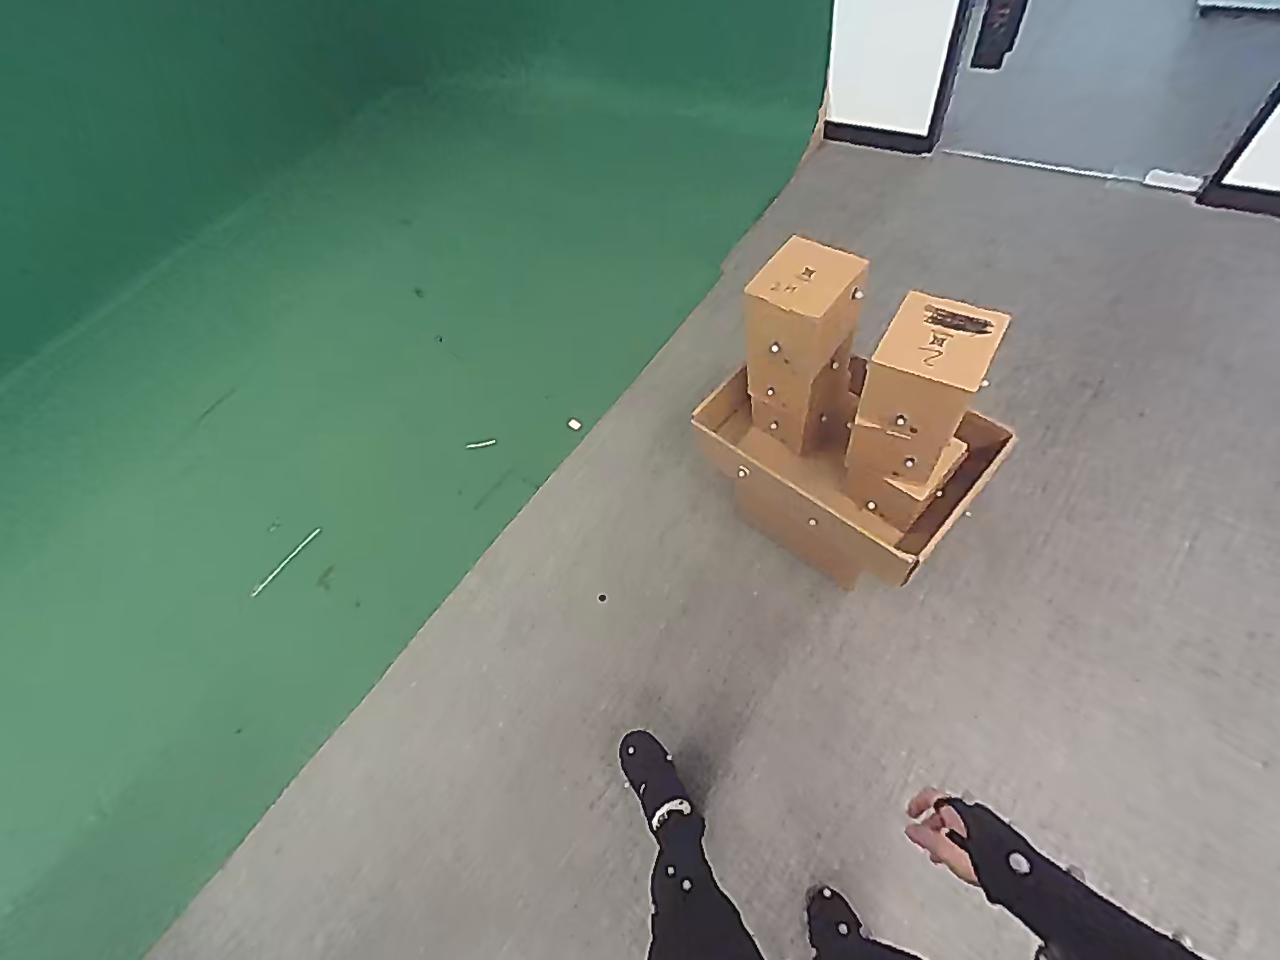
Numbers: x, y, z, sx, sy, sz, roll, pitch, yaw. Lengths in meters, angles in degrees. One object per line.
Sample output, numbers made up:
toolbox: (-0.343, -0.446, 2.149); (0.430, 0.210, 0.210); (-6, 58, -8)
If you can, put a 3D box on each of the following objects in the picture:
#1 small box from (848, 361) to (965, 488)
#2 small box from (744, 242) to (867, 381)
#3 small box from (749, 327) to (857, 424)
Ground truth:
small box: (0.533, -0.109, 1.102); (0.168, 0.176, 0.179); (19, 66, 23)
small box: (0.328, -0.338, 1.095); (0.168, 0.176, 0.179); (34, 73, 28)
small box: (0.365, -0.264, 1.237); (0.168, 0.176, 0.179); (34, 74, 28)
